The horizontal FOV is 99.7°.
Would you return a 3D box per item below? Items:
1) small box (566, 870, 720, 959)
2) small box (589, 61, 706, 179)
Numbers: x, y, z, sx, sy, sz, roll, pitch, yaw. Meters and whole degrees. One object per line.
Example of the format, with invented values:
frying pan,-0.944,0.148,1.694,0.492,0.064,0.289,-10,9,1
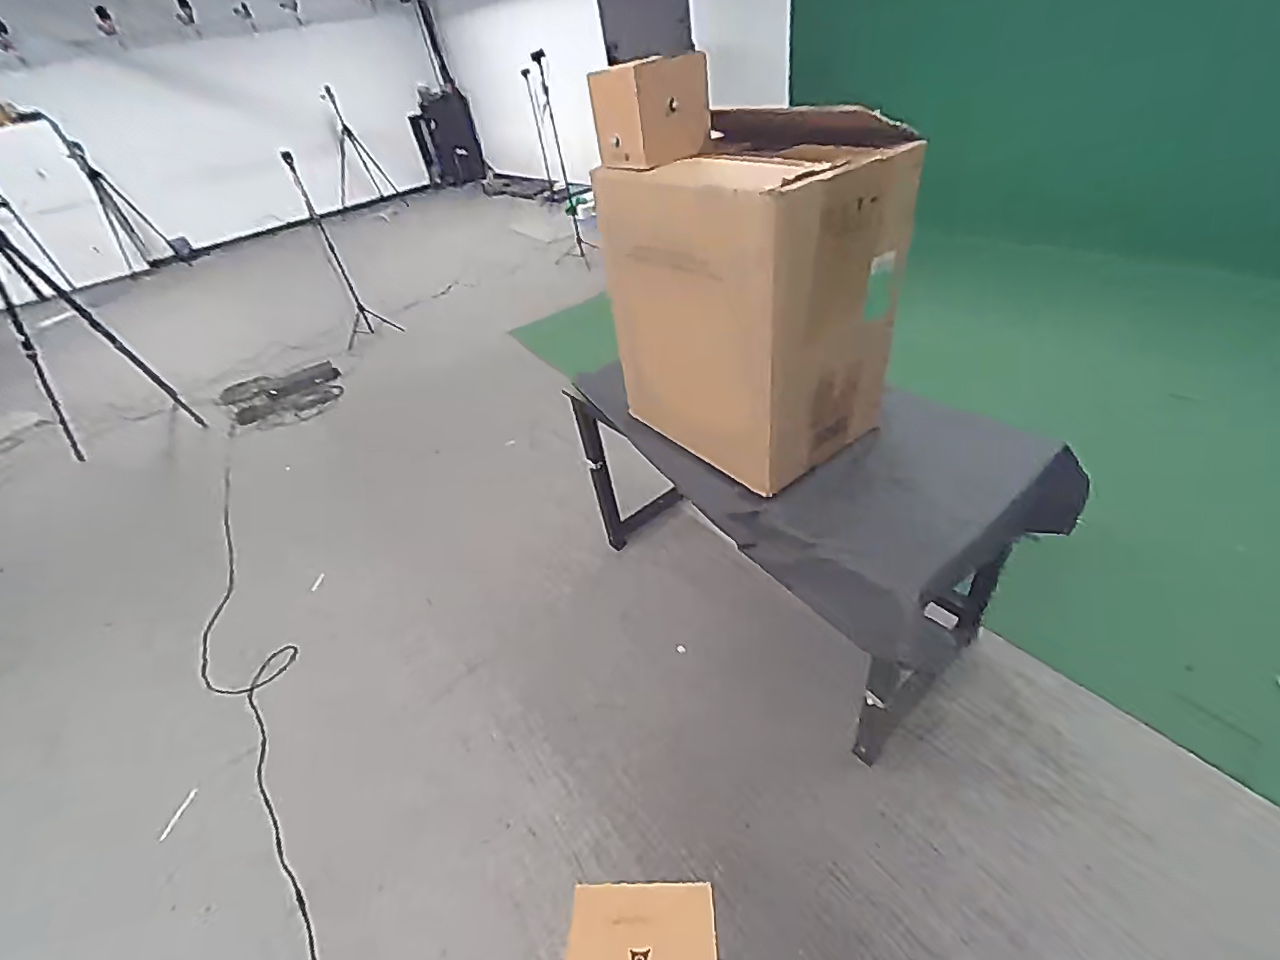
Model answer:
small box,0.009,0.575,0.592,0.168,0.176,0.179,-4,14,2
small box,0.021,-0.736,1.110,0.179,0.176,0.168,-30,41,-22
